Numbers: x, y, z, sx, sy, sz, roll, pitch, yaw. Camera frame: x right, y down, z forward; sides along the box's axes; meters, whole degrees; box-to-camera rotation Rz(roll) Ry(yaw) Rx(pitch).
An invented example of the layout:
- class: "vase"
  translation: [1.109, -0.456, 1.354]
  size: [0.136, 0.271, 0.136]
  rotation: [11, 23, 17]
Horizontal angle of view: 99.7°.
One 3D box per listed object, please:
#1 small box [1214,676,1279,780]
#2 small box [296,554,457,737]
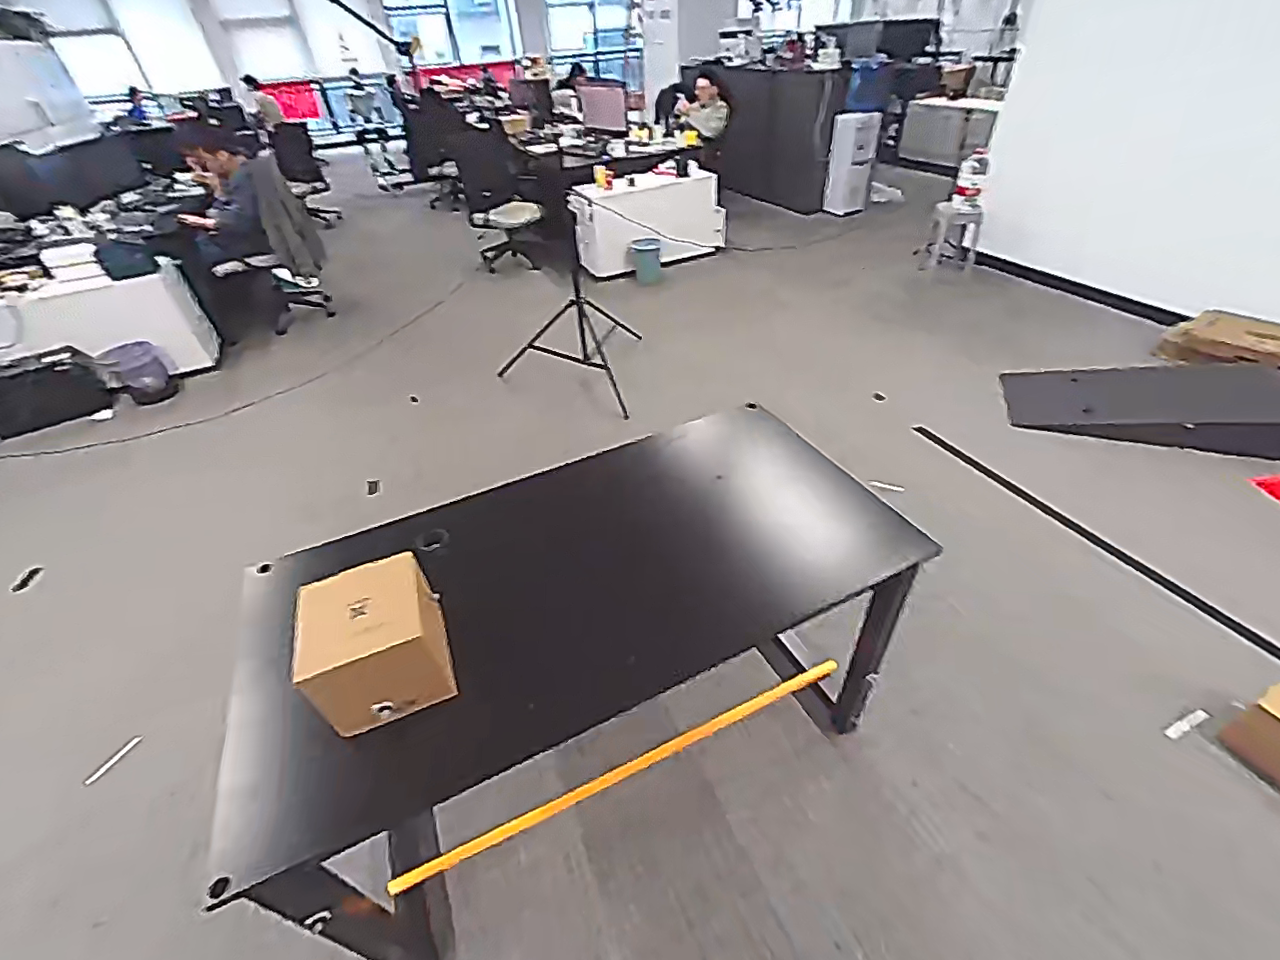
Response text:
- class: "small box"
  translation: [1.592, 0.613, 1.320]
  size: [0.168, 0.176, 0.179]
  rotation: [-21, 42, -18]
- class: "small box"
  translation: [-0.396, 0.251, 0.828]
  size: [0.168, 0.176, 0.179]
  rotation: [-20, 43, -15]
